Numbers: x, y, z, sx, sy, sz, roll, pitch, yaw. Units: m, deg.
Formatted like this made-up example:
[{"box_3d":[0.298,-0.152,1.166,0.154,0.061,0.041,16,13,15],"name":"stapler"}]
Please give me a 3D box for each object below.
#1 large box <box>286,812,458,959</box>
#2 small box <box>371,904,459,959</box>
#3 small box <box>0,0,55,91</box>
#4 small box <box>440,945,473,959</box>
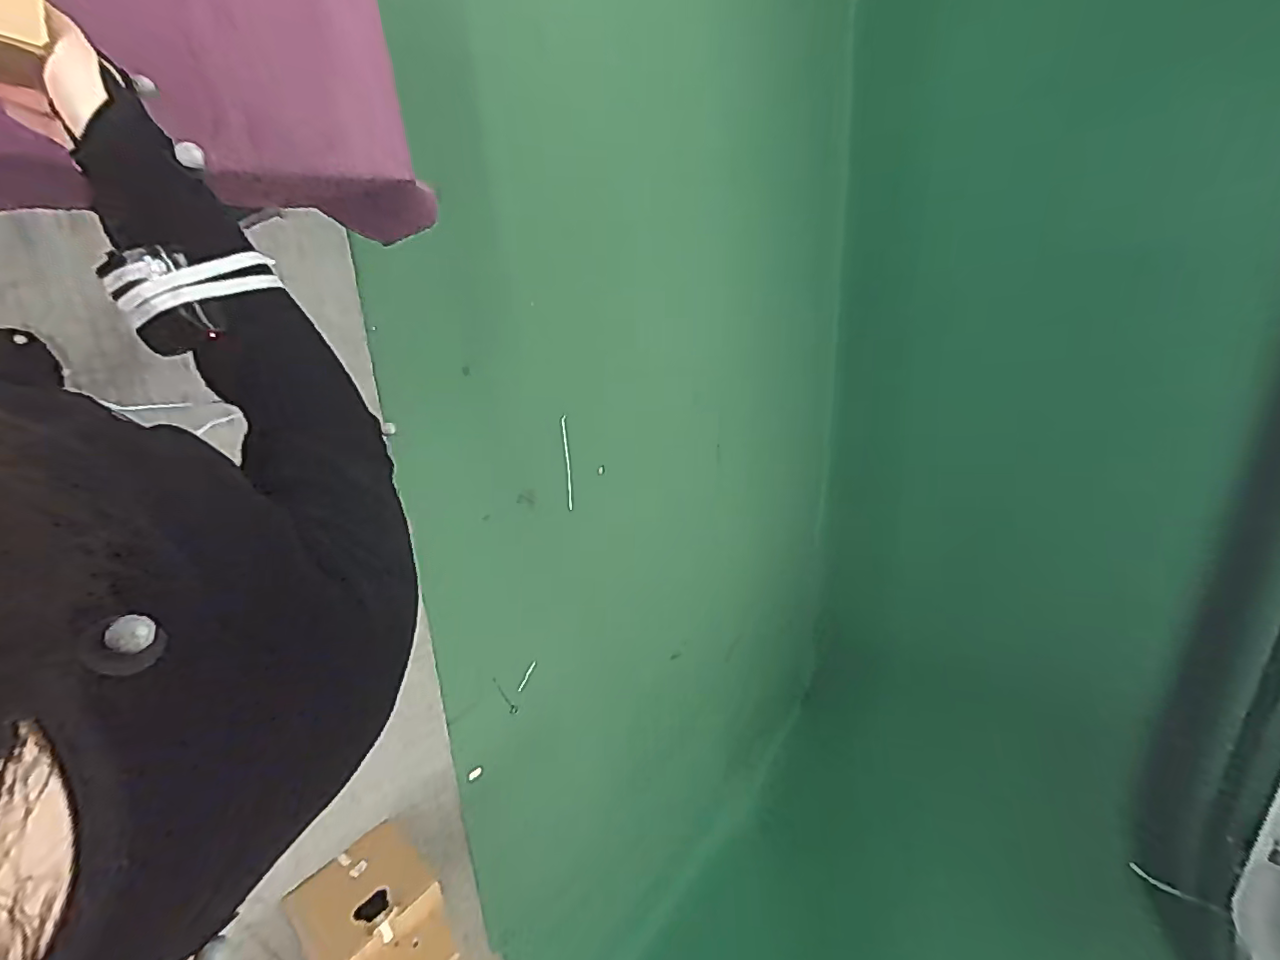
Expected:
[{"box_3d":[-0.801,1.332,1.641,0.320,0.320,0.408,-25,120,-44],"name":"large box"},{"box_3d":[-0.615,1.329,1.477,0.168,0.176,0.179,-11,109,-49],"name":"small box"},{"box_3d":[-0.452,-0.348,0.295,0.168,0.176,0.179,-11,114,-47],"name":"small box"},{"box_3d":[-0.488,1.367,1.383,0.168,0.176,0.179,-6,104,-51],"name":"small box"}]
